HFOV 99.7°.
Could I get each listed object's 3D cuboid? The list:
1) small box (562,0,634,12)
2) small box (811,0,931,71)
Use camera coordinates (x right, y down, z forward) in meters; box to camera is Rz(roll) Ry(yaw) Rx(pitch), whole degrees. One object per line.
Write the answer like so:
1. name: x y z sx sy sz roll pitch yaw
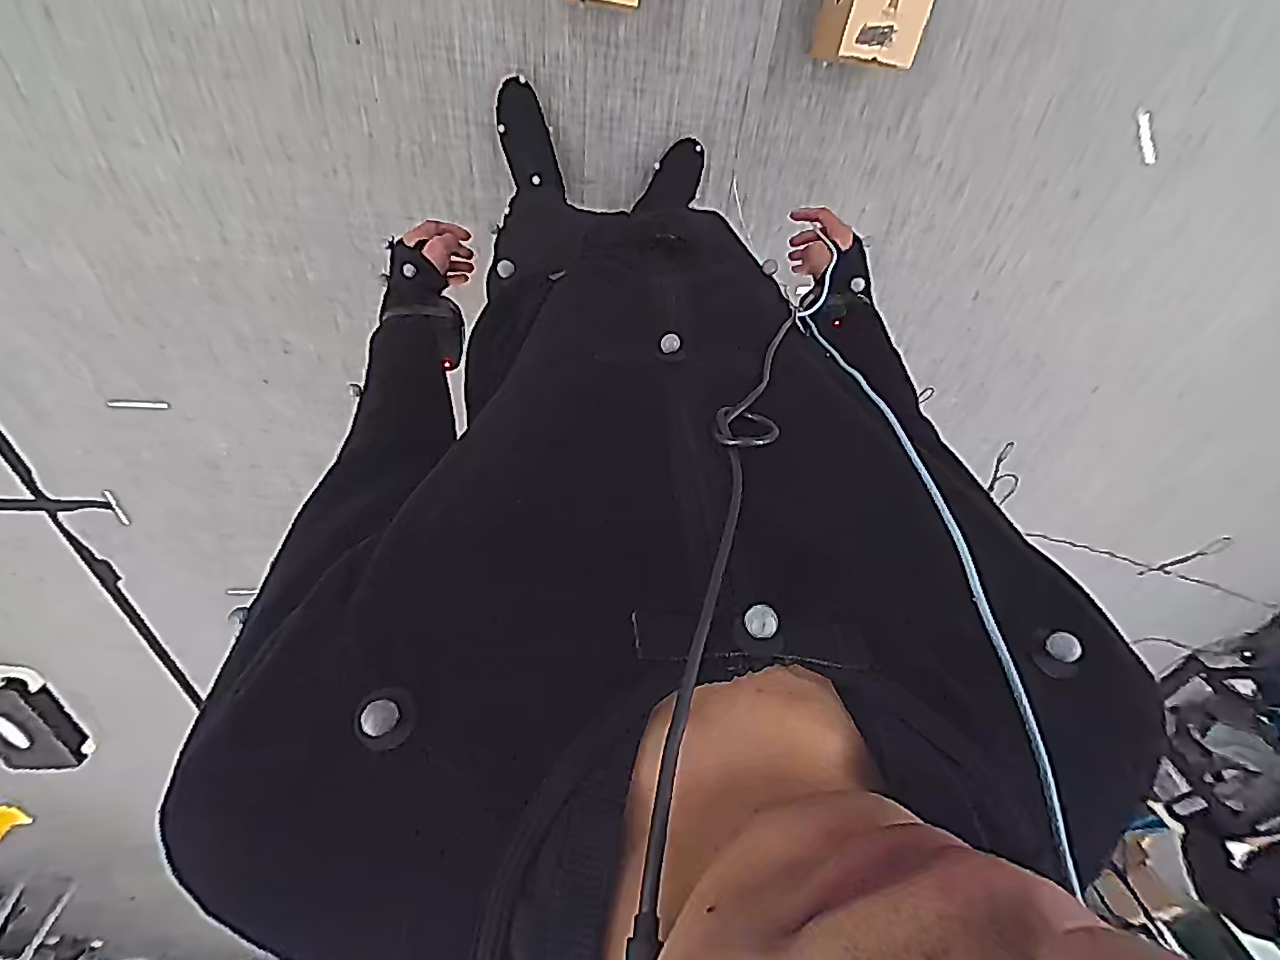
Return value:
1. small box: -0.087 -1.010 1.018 0.168 0.176 0.179 2 126 -9
2. small box: 0.476 -0.973 1.121 0.168 0.176 0.179 3 126 -11
